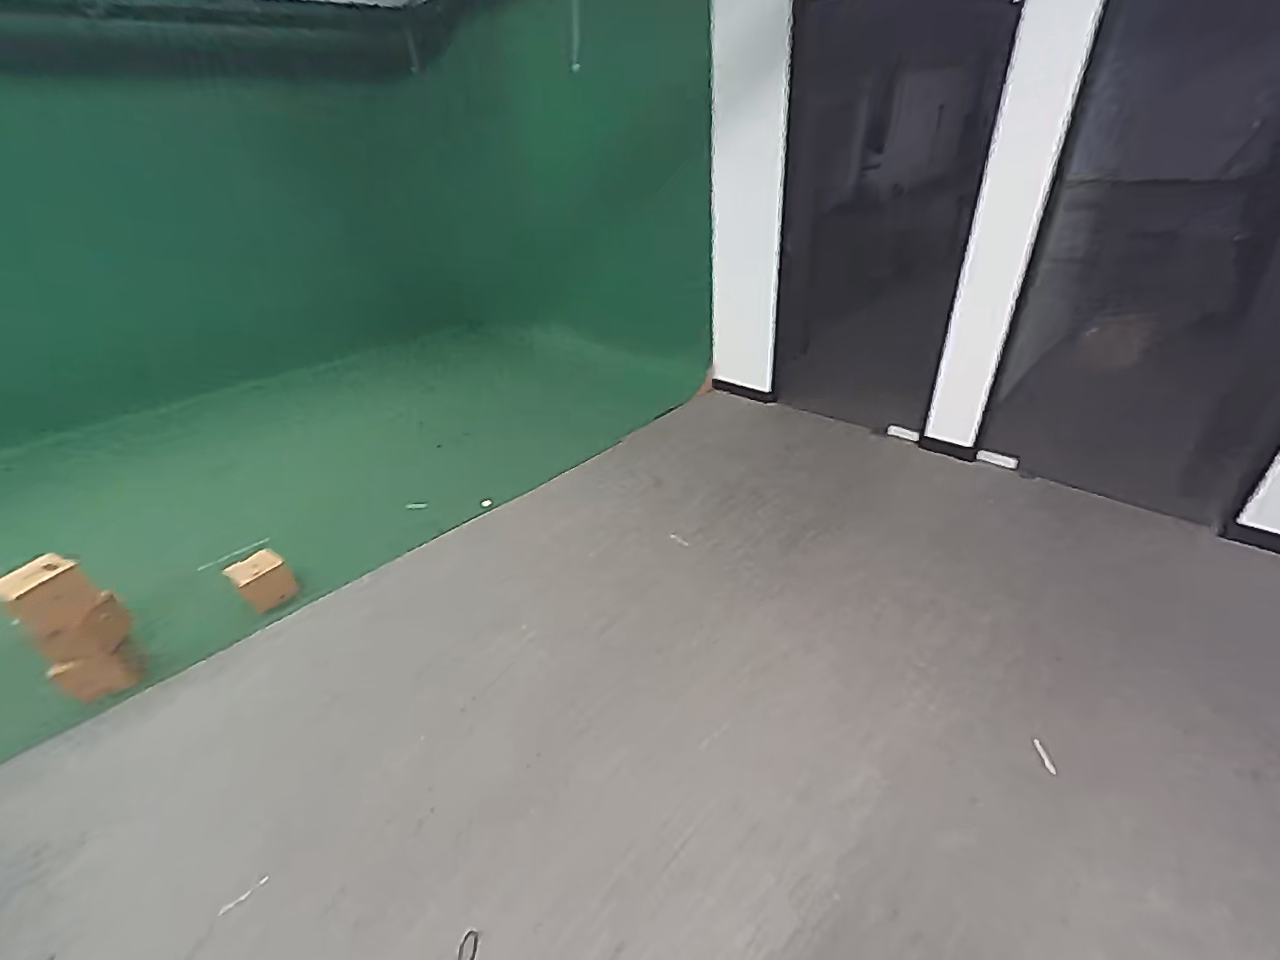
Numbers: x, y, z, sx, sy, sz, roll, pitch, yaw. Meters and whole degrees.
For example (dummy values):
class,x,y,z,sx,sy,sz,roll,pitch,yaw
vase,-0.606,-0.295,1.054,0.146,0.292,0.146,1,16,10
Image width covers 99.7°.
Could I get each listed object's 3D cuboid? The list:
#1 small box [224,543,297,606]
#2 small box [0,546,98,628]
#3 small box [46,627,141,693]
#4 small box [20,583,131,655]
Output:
class,x,y,z,sx,sy,sz,roll,pitch,yaw
small box,-1.575,0.395,2.248,0.179,0.176,0.168,18,39,32
small box,-1.936,0.347,1.761,0.168,0.176,0.179,11,37,20
small box,-1.938,0.628,1.929,0.168,0.176,0.179,-19,35,-22
small box,-1.921,0.481,1.855,0.168,0.176,0.179,-6,32,-5
